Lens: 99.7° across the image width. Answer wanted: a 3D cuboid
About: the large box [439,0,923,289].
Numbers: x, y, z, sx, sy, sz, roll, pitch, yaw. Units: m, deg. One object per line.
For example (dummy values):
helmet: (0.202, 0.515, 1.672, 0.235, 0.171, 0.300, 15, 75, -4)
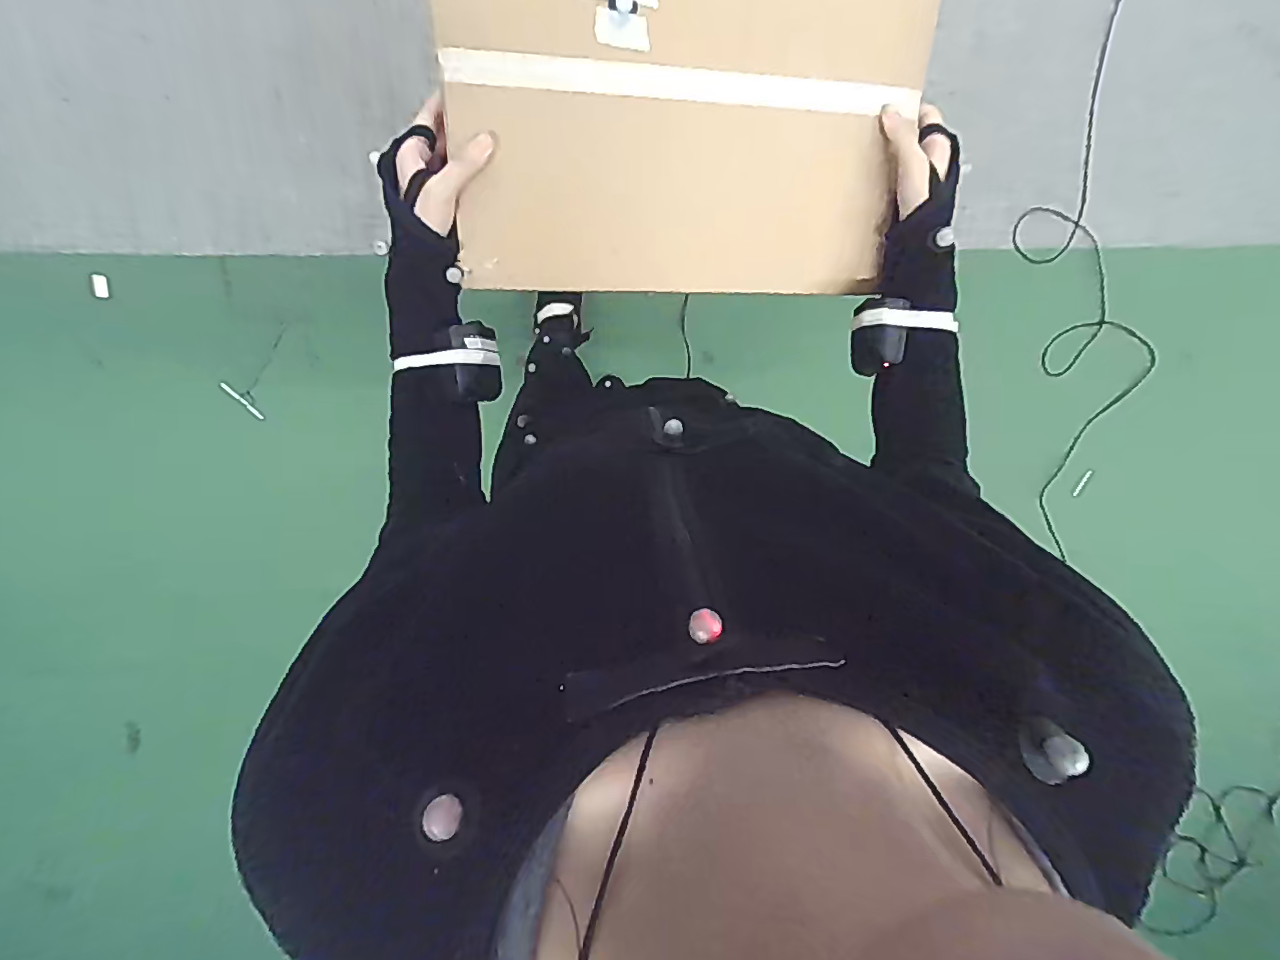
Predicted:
large box: (0.017, -0.390, 0.589, 0.408, 0.320, 0.320, -2, 114, -11)
